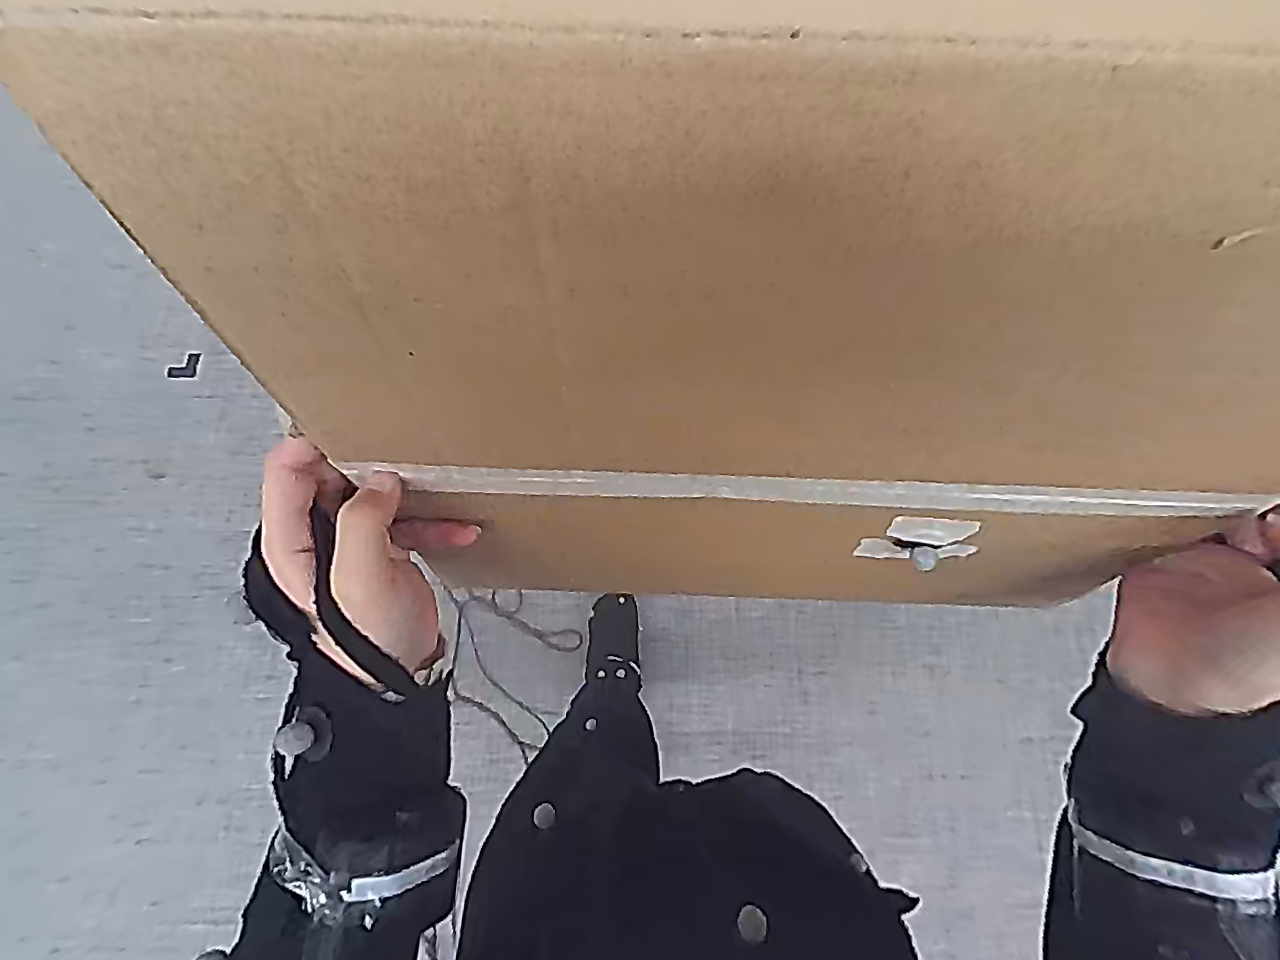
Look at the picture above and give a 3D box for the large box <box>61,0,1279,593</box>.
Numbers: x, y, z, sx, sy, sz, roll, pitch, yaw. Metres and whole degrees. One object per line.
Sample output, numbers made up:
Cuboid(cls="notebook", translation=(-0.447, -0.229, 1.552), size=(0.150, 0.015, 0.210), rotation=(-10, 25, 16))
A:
Cuboid(cls="large box", translation=(0.069, -0.131, 0.317), size=(0.408, 0.320, 0.320), rotation=(1, 61, 0))
